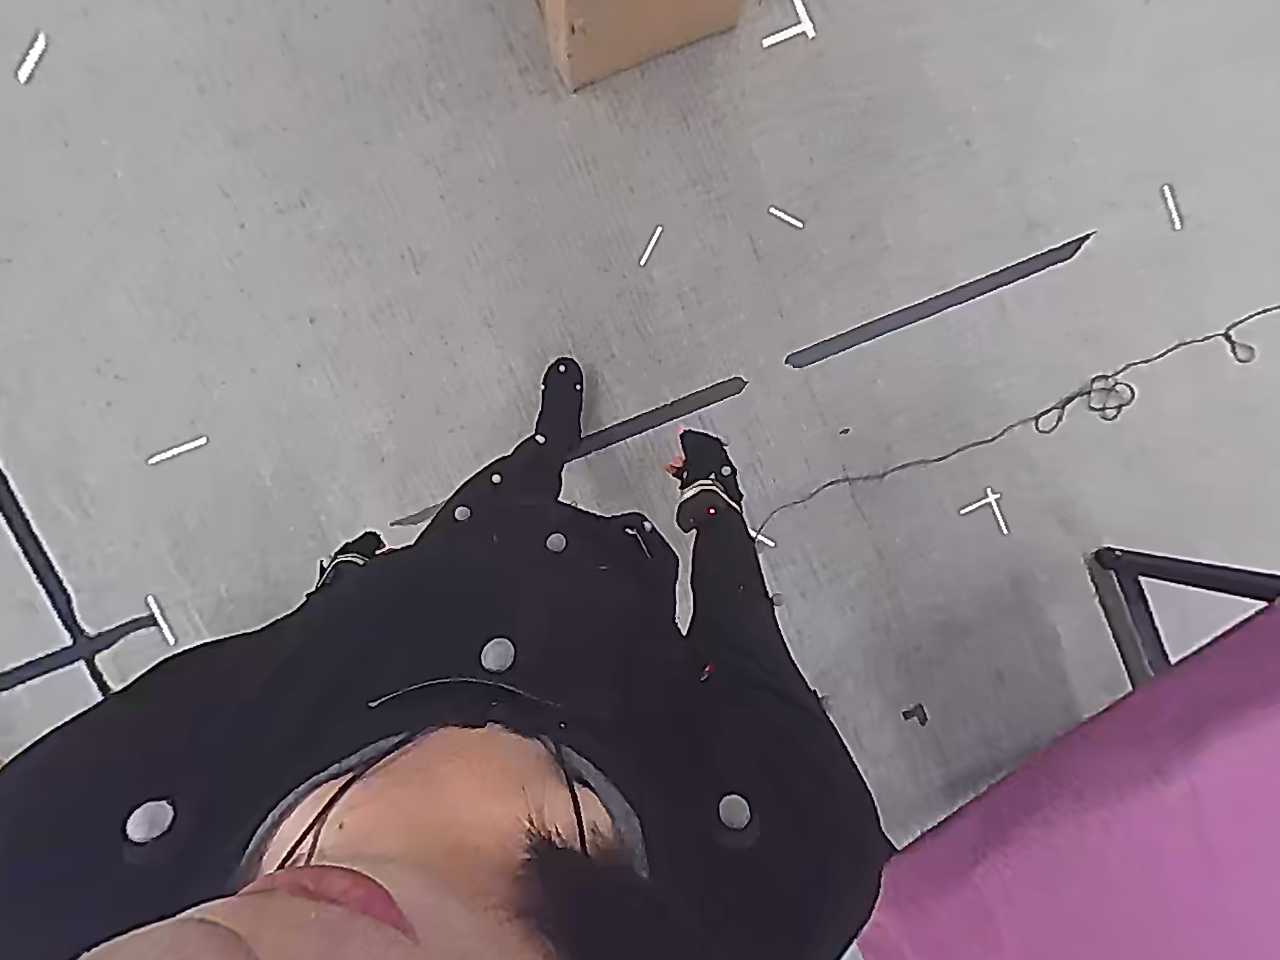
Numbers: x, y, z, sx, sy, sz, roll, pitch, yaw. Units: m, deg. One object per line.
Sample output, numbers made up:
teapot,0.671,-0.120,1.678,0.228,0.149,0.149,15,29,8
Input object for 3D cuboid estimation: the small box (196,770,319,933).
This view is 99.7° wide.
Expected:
small box,-0.771,0.715,1.065,0.179,0.176,0.168,-25,92,-3

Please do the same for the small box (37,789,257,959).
small box,-0.795,0.652,0.895,0.168,0.176,0.179,-30,95,-5
